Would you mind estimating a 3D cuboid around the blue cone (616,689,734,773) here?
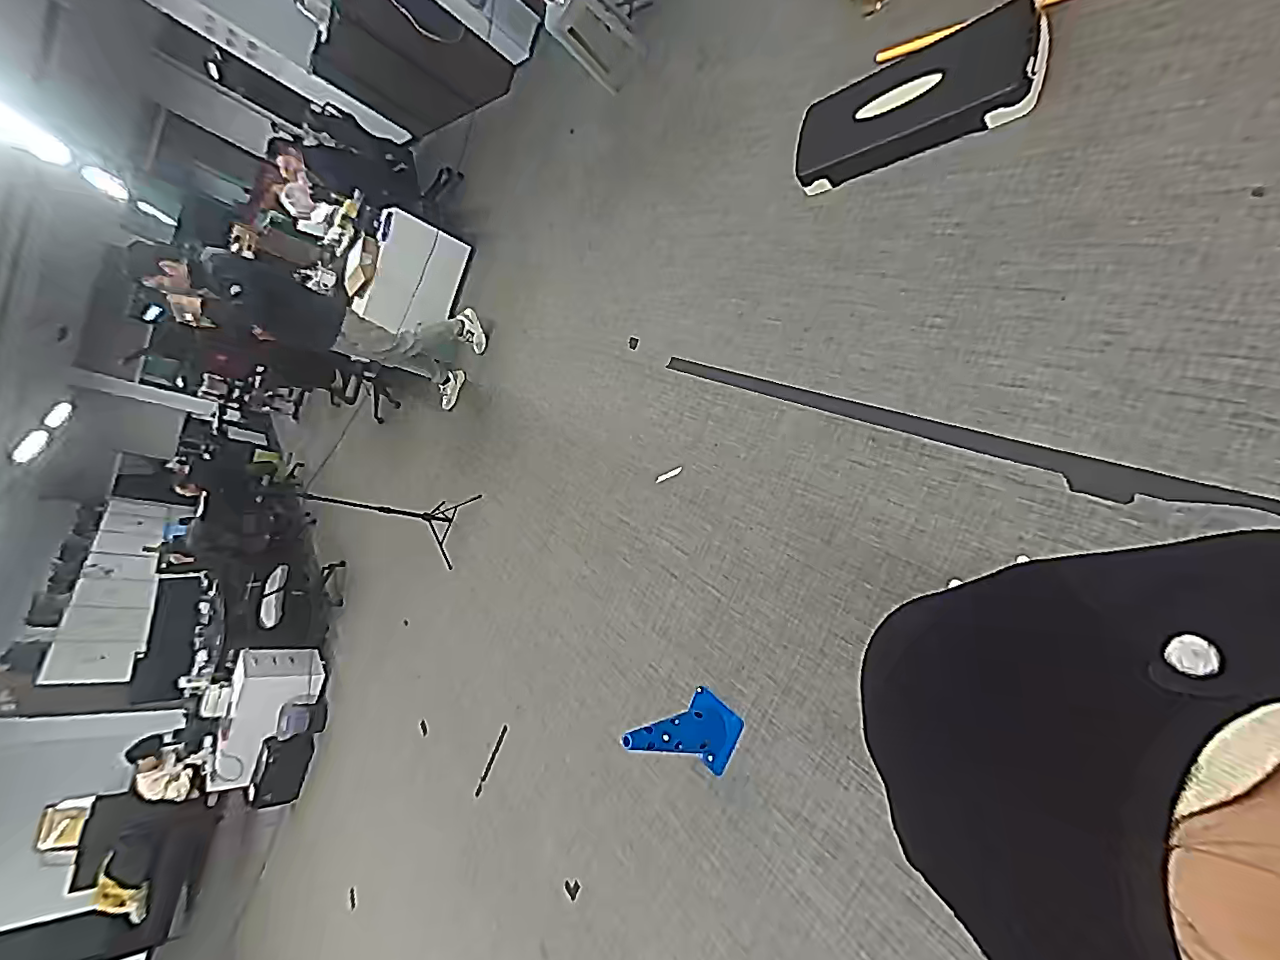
[{"bbox_3d":[0.086,0.751,1.590,0.192,0.380,0.193,31,102,49],"label":"blue cone"}]
